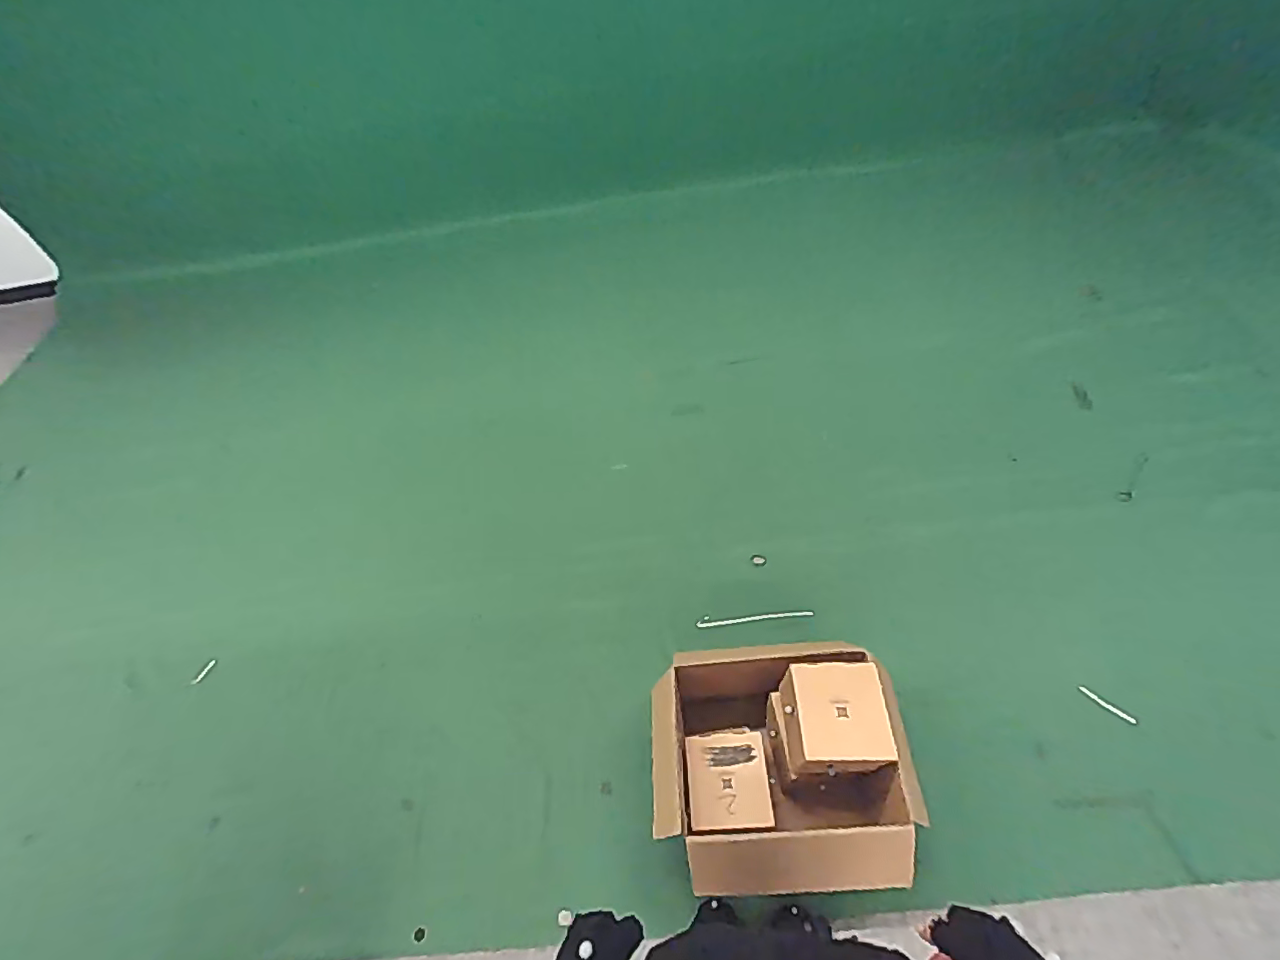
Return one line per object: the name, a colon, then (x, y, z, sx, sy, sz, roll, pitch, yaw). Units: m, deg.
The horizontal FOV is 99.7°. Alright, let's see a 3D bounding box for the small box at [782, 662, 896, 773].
small box: (0.383, 0.474, 1.073, 0.168, 0.176, 0.179, -3, 53, 4)
